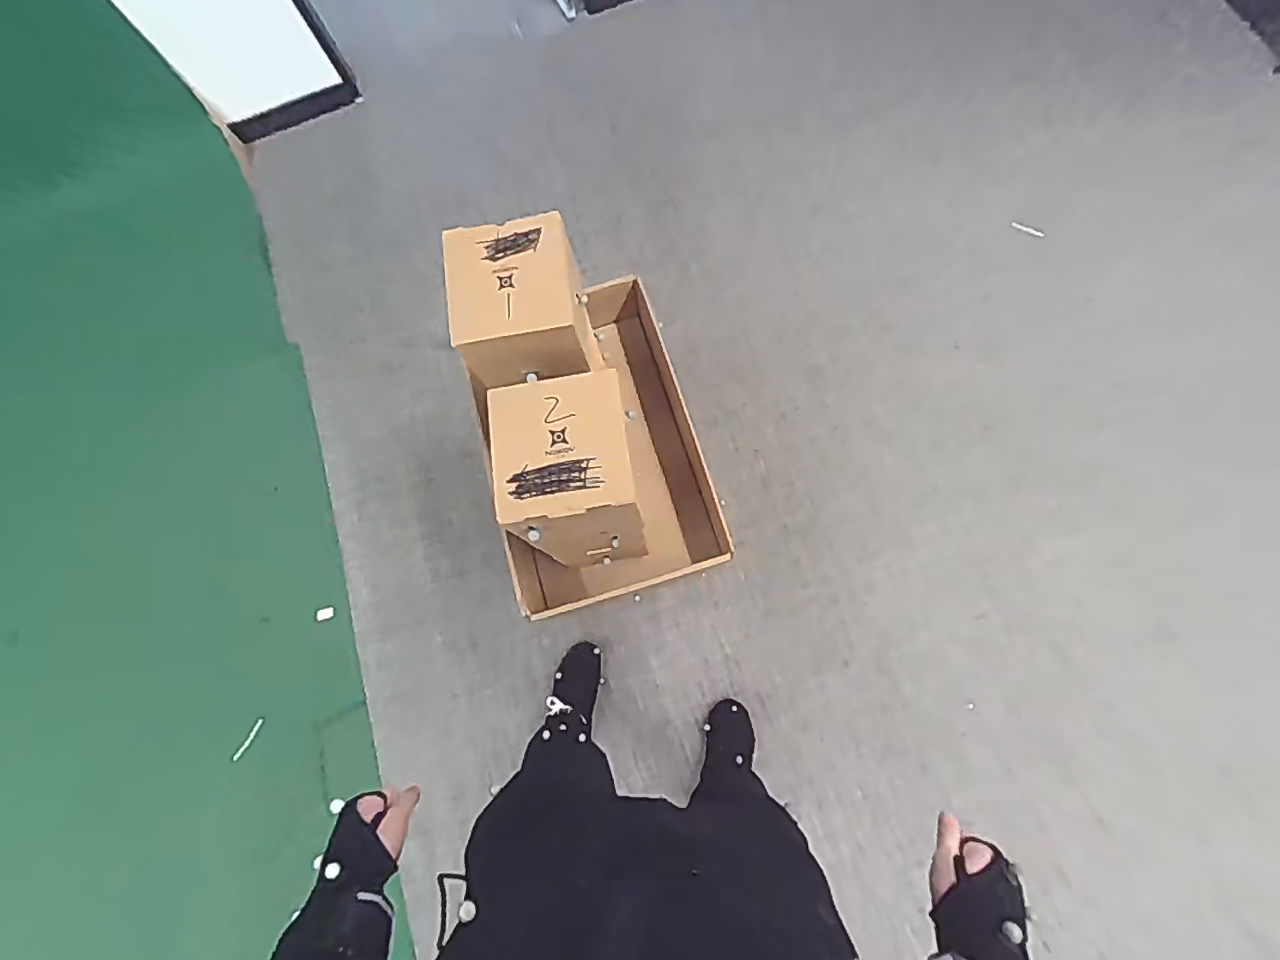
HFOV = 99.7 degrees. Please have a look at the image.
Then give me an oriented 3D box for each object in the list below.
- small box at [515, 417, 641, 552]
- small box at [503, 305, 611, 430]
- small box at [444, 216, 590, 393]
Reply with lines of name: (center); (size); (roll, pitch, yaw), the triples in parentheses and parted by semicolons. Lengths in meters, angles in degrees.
small box: (-0.095, 0.018, 0.889); (0.168, 0.176, 0.179); (-10, 74, 1)
small box: (-0.157, -0.208, 0.957); (0.168, 0.176, 0.179); (-18, 76, -1)
small box: (-0.174, -0.249, 0.799); (0.168, 0.176, 0.179); (-9, 77, 2)
